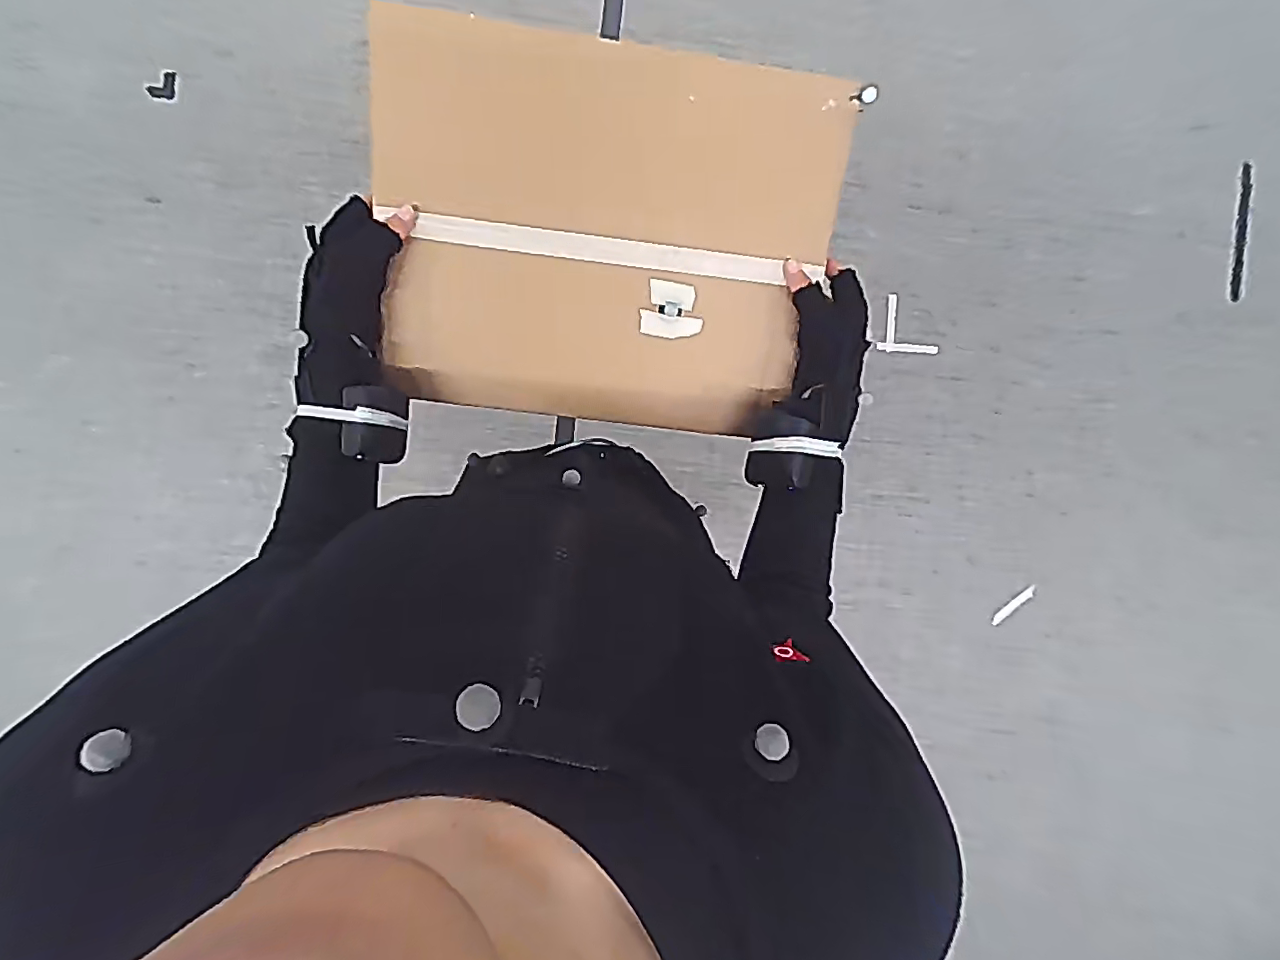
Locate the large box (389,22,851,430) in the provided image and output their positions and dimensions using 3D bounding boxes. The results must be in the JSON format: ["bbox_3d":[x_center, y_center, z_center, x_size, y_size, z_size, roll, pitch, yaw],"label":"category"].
[{"bbox_3d":[-0.036,-0.260,0.644,0.408,0.320,0.320,6,109,-5],"label":"large box"}]
